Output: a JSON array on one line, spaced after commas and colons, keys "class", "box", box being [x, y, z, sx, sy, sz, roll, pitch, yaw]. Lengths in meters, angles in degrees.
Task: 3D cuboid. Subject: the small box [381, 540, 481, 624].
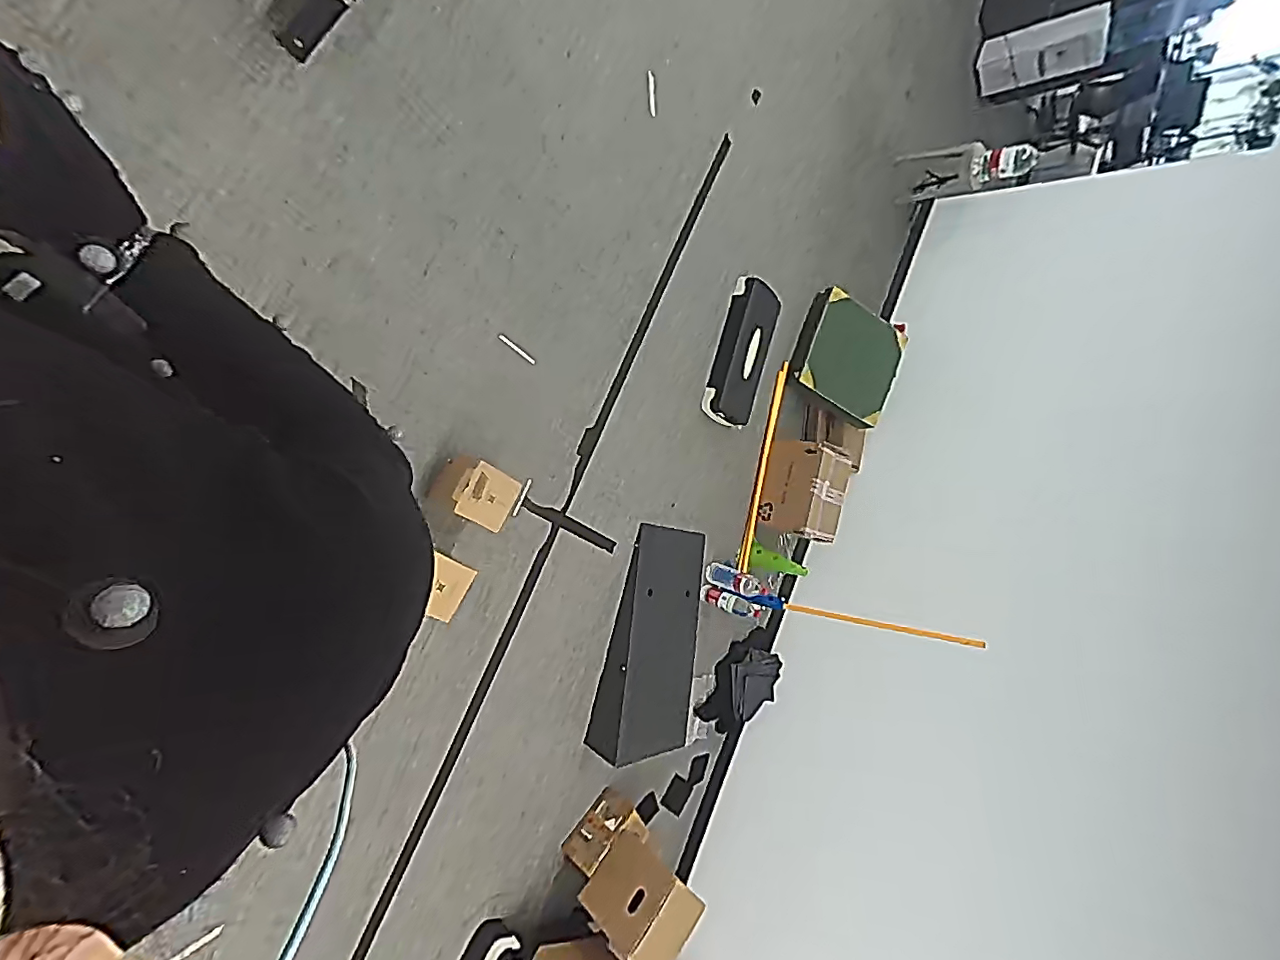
[{"class": "small box", "box": [-0.605, 0.287, 1.557, 0.179, 0.176, 0.168, 42, 70, -45]}]

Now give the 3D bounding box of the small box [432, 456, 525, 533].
[{"class": "small box", "box": [-0.486, 0.038, 1.616, 0.179, 0.176, 0.168, 38, 73, -46]}]
